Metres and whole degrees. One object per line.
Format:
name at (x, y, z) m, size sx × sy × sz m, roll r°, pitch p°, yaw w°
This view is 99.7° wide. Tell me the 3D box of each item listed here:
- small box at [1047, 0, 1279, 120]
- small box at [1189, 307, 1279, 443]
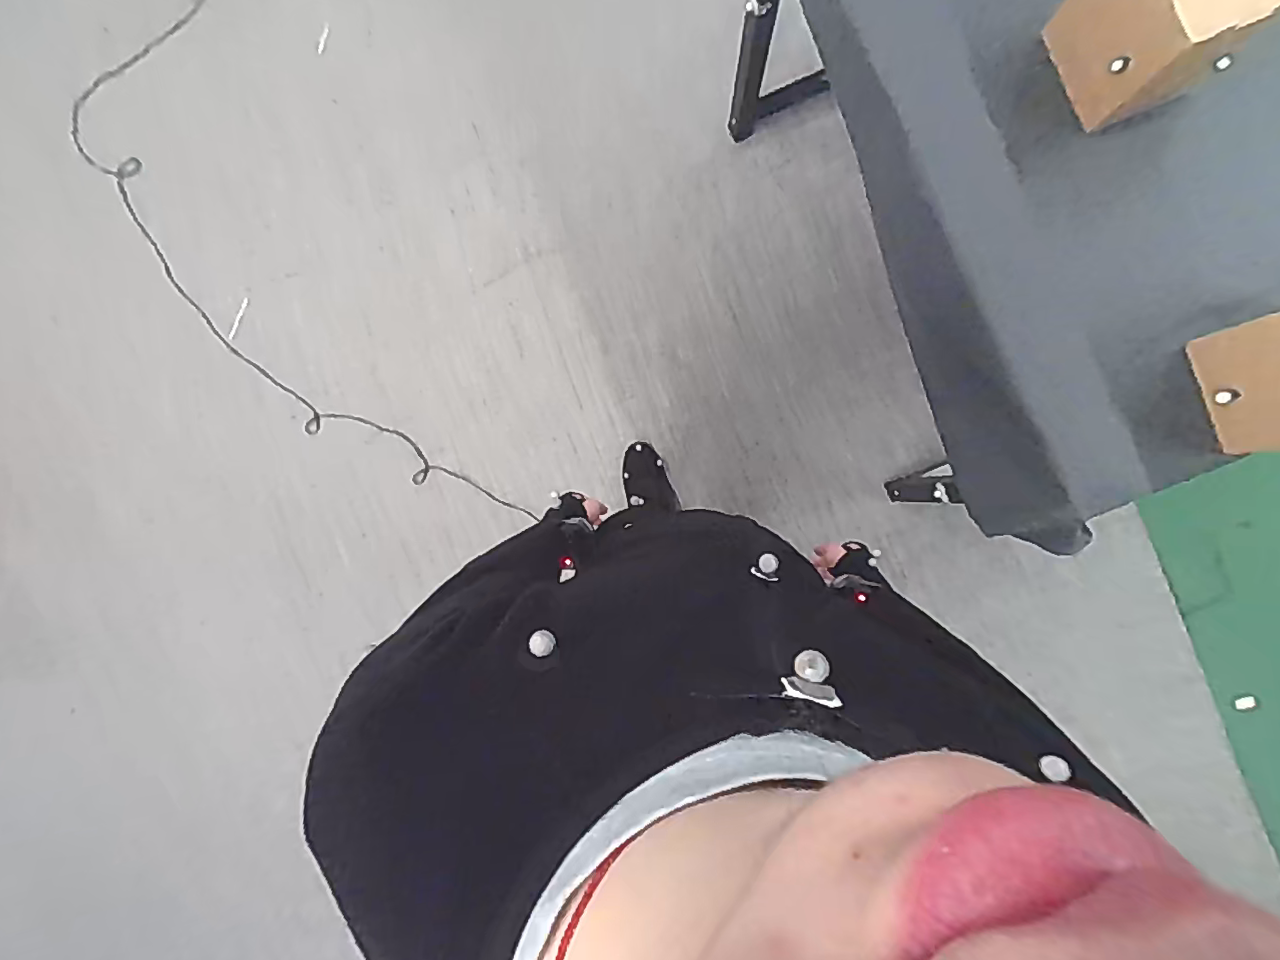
small box at (0.711, -0.632, 0.729) m, size 0.168 × 0.176 × 0.179 m, roll -23°, pitch 88°, yaw 1°
small box at (0.906, -0.152, 0.716) m, size 0.168 × 0.176 × 0.179 m, roll -18°, pitch 89°, yaw 3°
